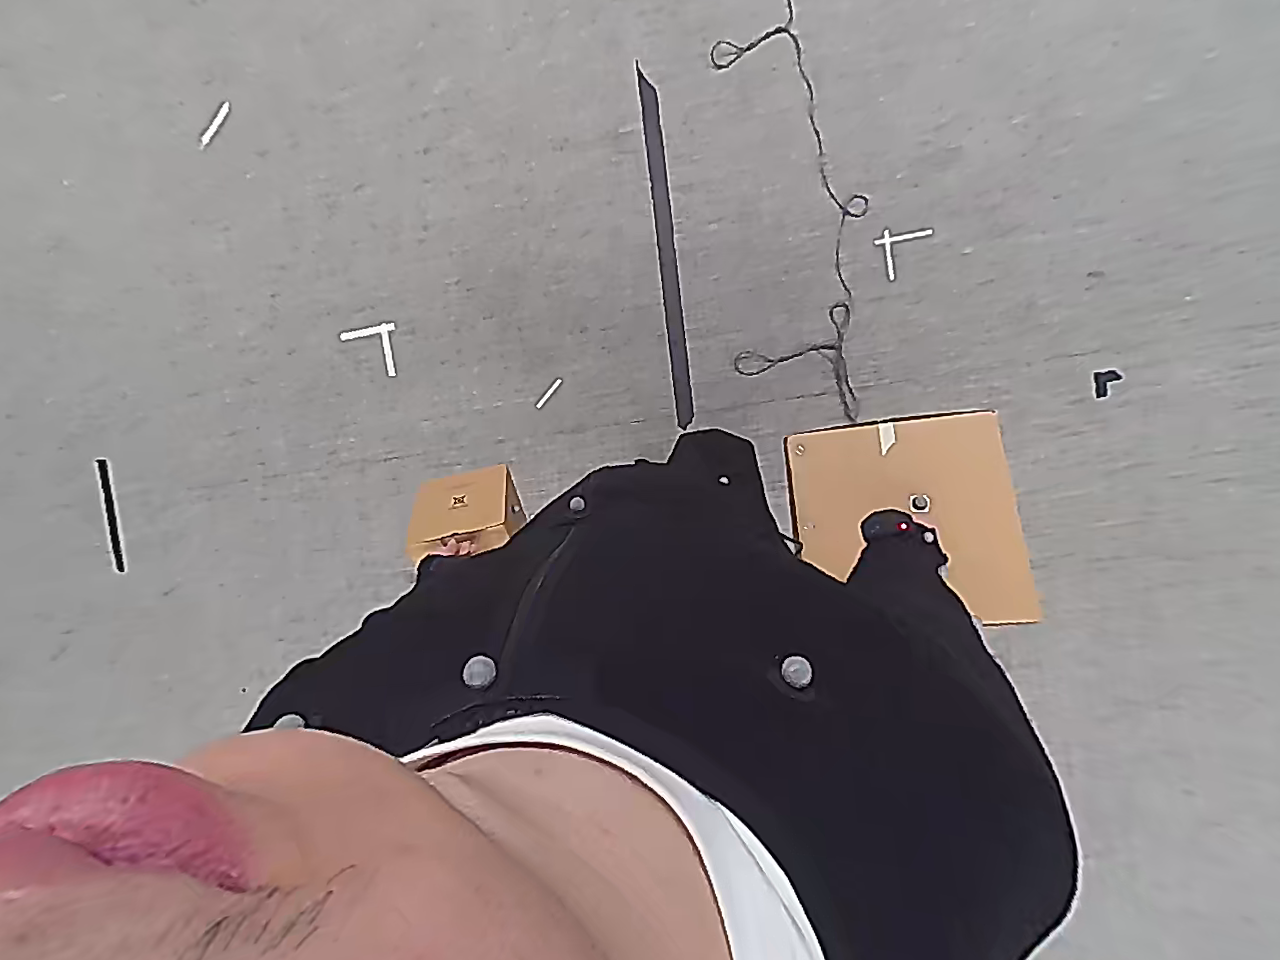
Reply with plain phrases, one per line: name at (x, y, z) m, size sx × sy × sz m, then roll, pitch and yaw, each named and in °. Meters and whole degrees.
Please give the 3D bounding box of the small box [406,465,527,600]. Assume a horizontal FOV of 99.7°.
small box at (-0.309, 0.102, 0.999) m, size 0.168 × 0.179 × 0.176 m, roll -11°, pitch 129°, yaw -4°
